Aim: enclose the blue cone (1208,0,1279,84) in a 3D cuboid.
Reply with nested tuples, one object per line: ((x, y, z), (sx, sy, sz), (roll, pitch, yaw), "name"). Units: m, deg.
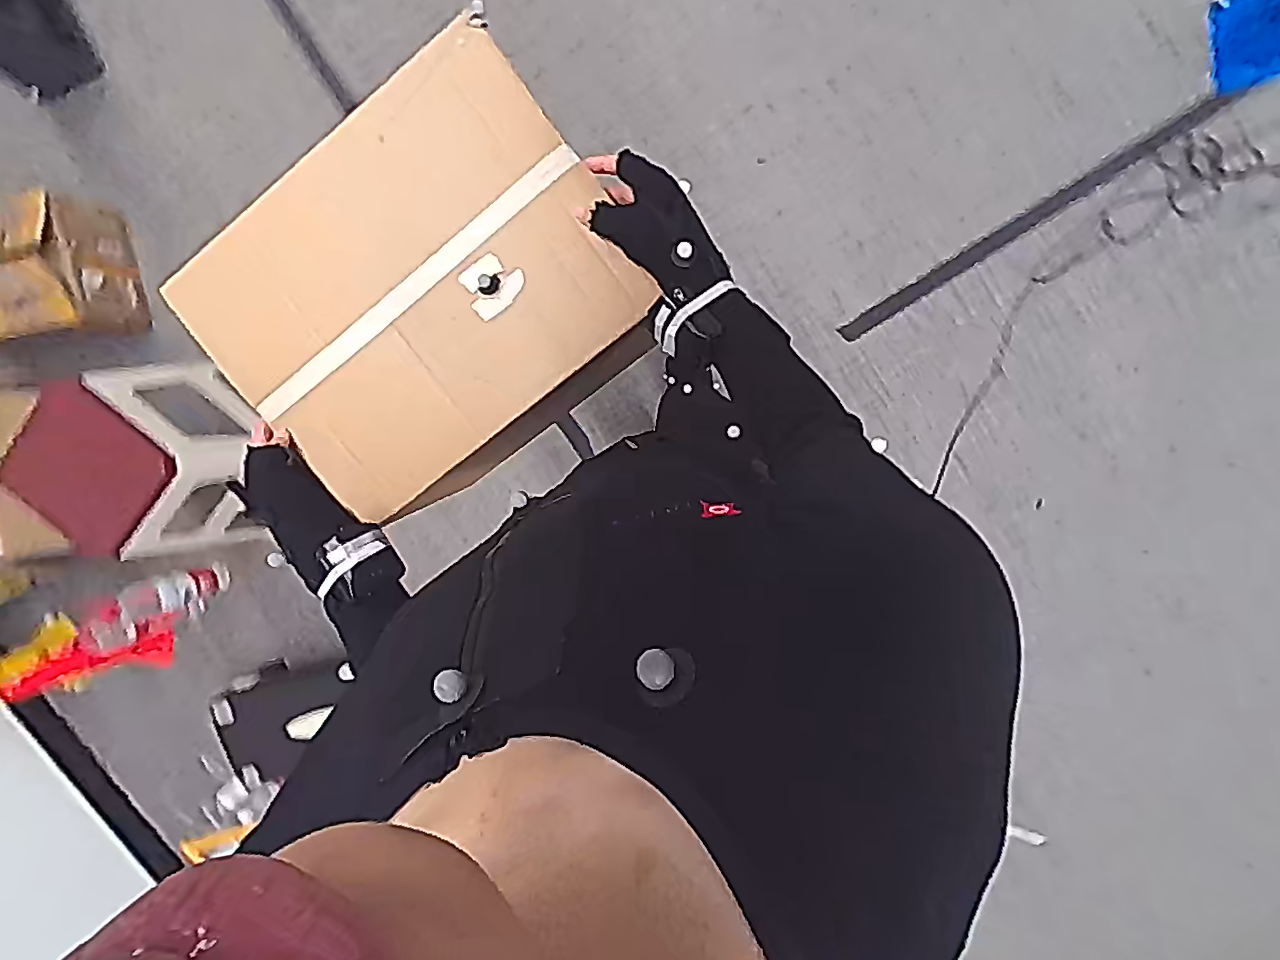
((1.378, -0.990, 1.058), (0.192, 0.380, 0.193), (-11, 97, 7), "blue cone")
